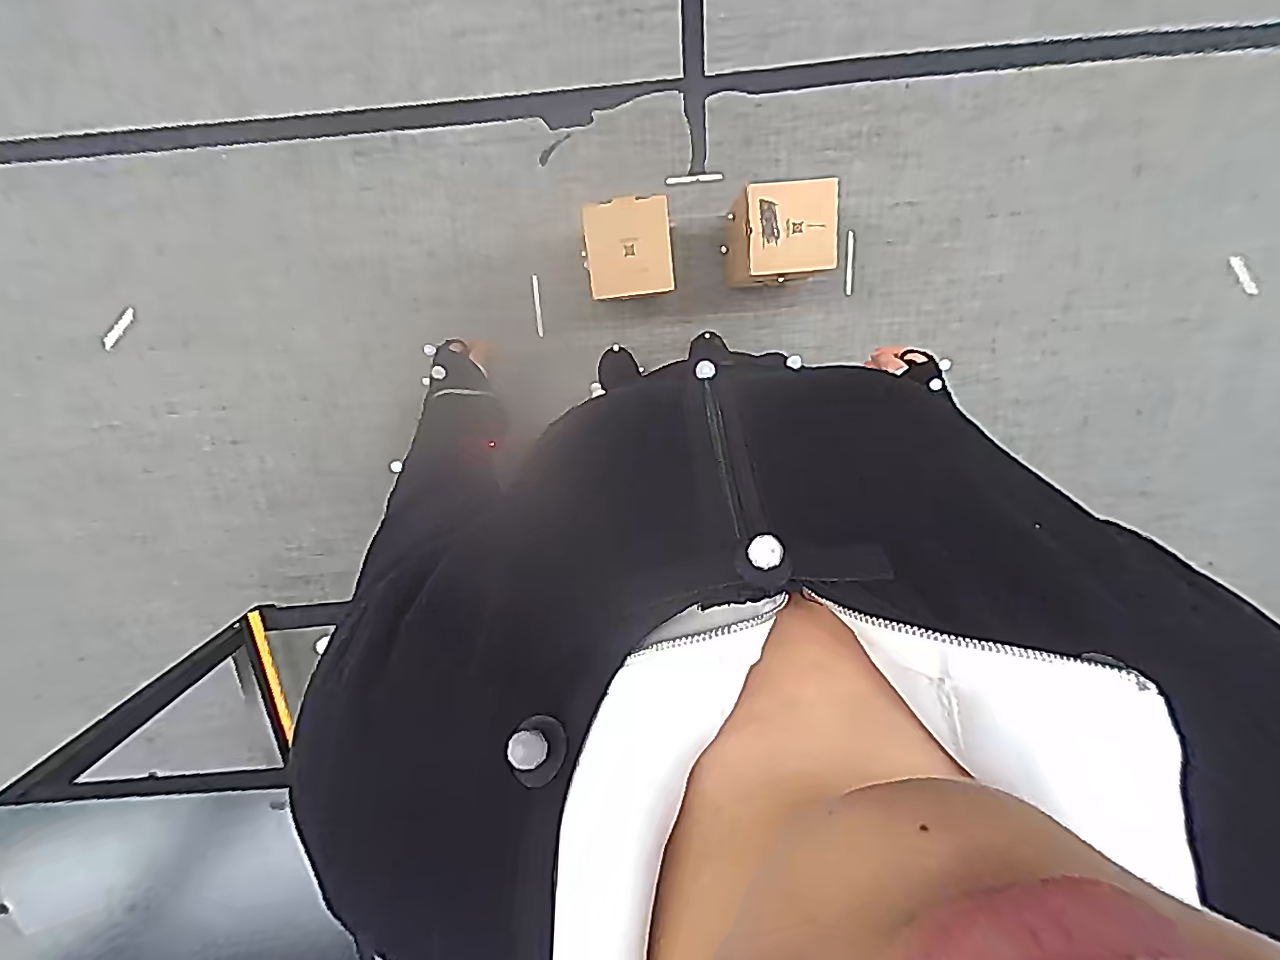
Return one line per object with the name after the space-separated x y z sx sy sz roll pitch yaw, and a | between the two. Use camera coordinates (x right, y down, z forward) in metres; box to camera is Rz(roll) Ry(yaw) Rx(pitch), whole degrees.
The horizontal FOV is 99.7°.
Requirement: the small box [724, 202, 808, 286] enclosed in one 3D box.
0.296 -0.555 1.280 0.168 0.176 0.179 -3 108 -1 | small box

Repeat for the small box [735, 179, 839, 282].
0.295 -0.508 1.122 0.179 0.176 0.168 -5 106 0 | small box

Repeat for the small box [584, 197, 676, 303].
-0.018 -0.472 1.130 0.168 0.176 0.179 -6 107 3 | small box
